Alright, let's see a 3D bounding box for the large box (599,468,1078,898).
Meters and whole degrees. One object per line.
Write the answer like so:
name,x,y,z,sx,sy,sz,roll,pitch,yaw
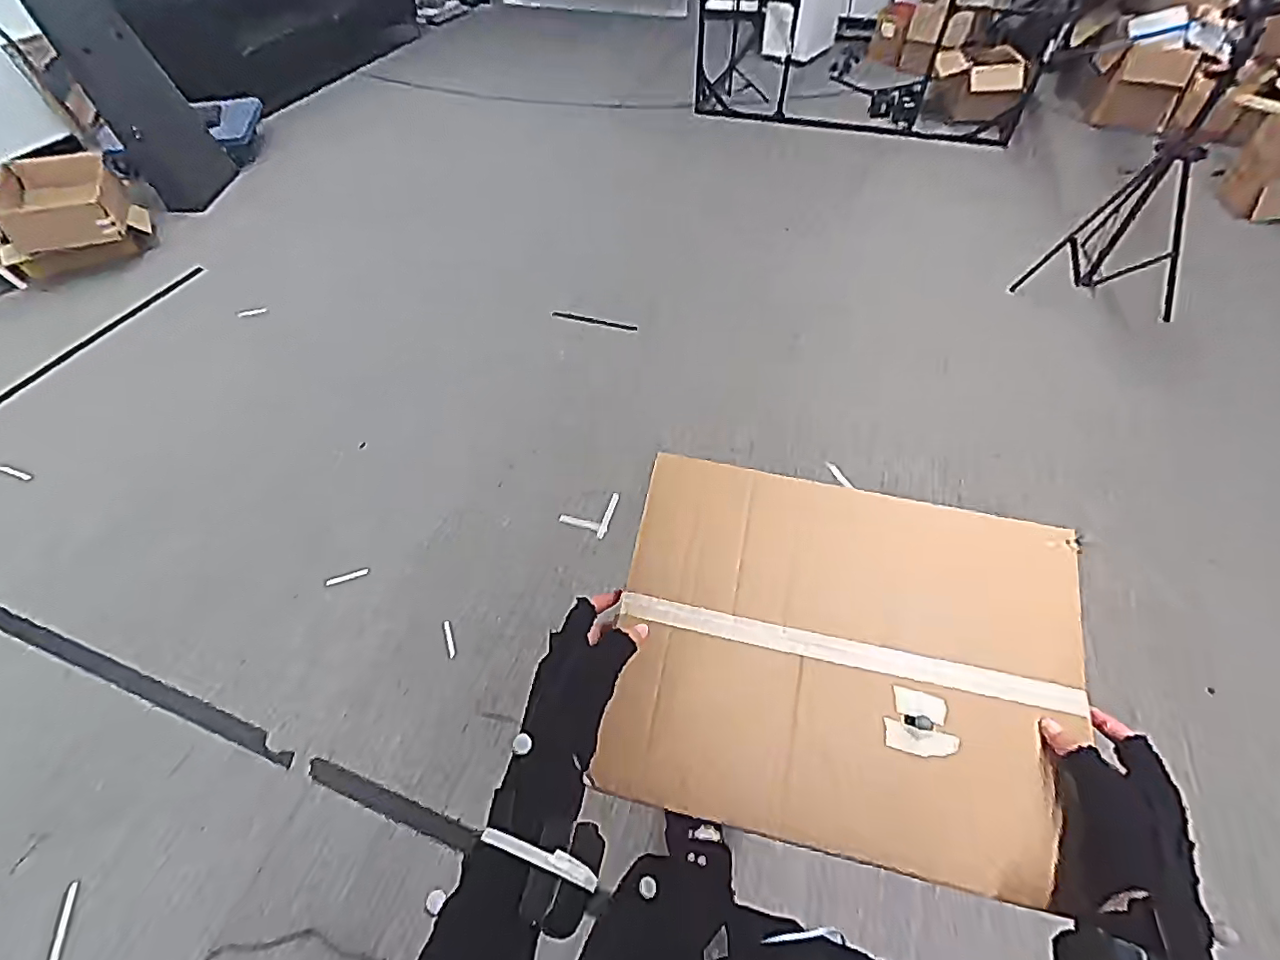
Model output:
large box,0.191,0.214,0.641,0.408,0.320,0.320,11,70,7
